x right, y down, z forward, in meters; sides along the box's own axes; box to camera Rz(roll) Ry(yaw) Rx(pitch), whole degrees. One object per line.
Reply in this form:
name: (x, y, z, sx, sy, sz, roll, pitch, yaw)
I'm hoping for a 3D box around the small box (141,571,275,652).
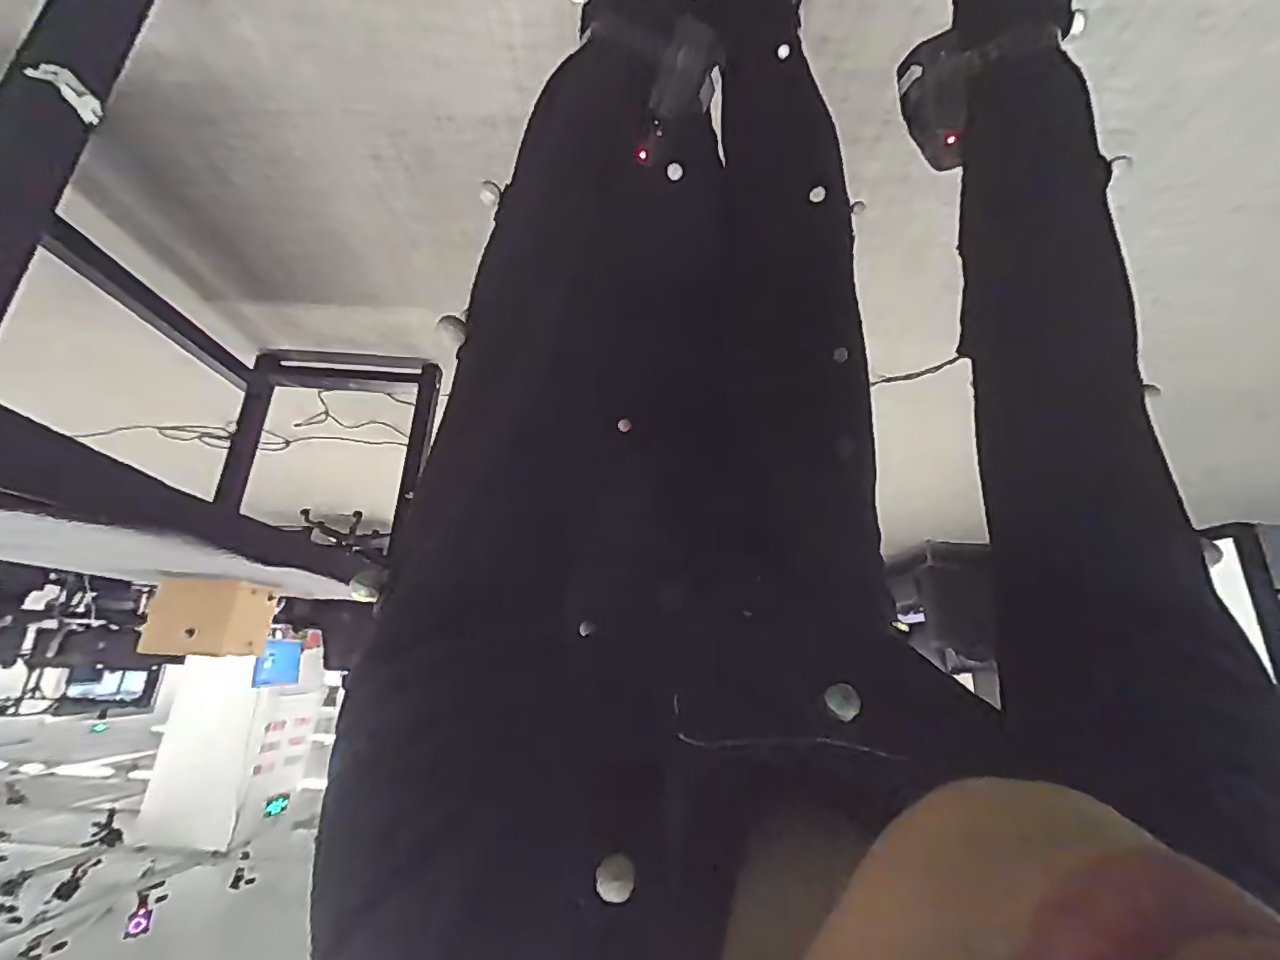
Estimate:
small box: (-0.997, 0.310, 1.270, 0.179, 0.176, 0.168, 4, 161, -1)
